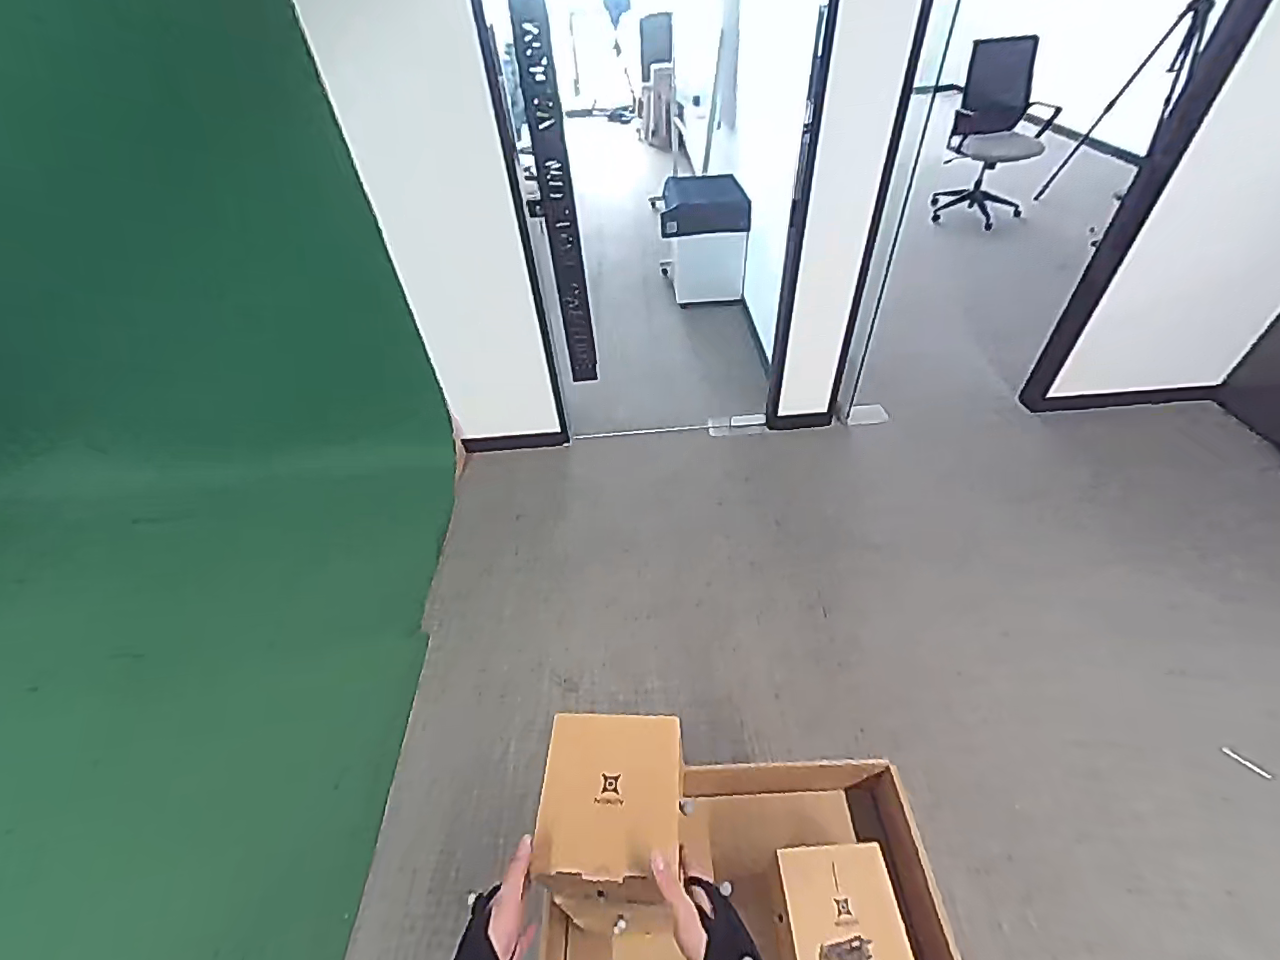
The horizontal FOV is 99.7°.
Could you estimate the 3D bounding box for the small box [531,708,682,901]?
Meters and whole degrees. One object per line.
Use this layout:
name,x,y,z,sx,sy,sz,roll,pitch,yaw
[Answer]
small box,-0.030,0.420,0.702,0.168,0.176,0.179,0,46,5

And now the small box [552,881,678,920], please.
small box,-0.026,0.536,0.815,0.168,0.176,0.179,-1,45,4

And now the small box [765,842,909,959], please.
small box,0.301,0.698,0.856,0.168,0.176,0.179,-3,43,1

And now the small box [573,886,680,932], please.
small box,-0.017,0.653,0.930,0.168,0.176,0.179,-2,45,2
